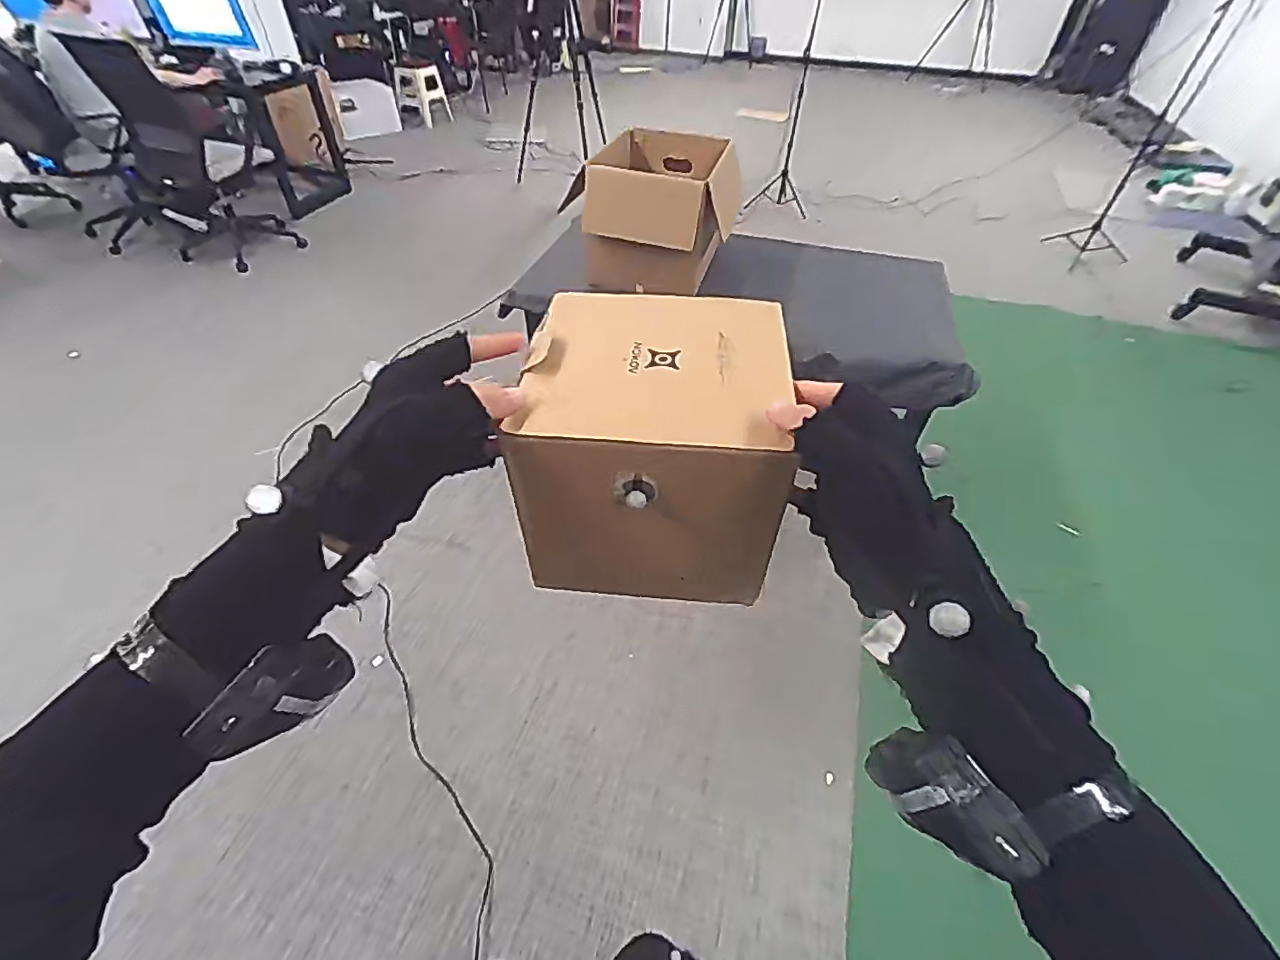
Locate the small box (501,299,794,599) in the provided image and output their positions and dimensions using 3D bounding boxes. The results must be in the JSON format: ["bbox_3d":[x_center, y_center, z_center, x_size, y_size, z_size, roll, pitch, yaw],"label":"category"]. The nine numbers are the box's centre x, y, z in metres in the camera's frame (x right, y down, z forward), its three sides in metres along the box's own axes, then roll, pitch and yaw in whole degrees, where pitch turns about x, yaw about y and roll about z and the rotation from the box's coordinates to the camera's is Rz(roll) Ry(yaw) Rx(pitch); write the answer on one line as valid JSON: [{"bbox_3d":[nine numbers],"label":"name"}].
[{"bbox_3d":[0.010,-0.022,0.425,0.179,0.176,0.168,4,47,3],"label":"small box"}]
